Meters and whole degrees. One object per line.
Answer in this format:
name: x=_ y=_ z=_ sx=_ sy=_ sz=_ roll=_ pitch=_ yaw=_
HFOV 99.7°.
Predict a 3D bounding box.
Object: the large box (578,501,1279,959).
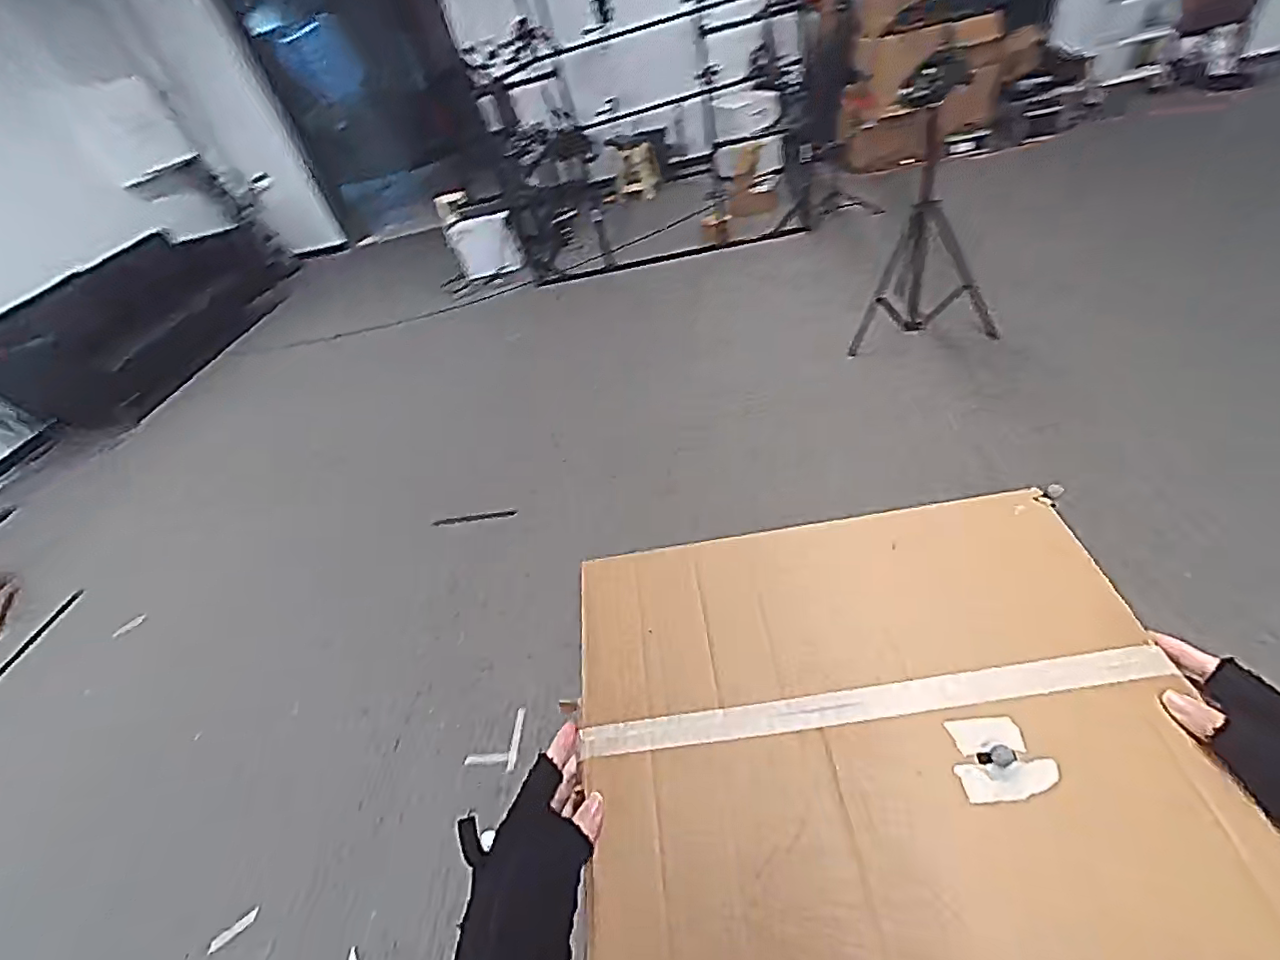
large box: x=0.174 y=0.264 z=0.505 sx=0.408 sy=0.320 sz=0.320 roll=-10 pitch=49 yaw=2
